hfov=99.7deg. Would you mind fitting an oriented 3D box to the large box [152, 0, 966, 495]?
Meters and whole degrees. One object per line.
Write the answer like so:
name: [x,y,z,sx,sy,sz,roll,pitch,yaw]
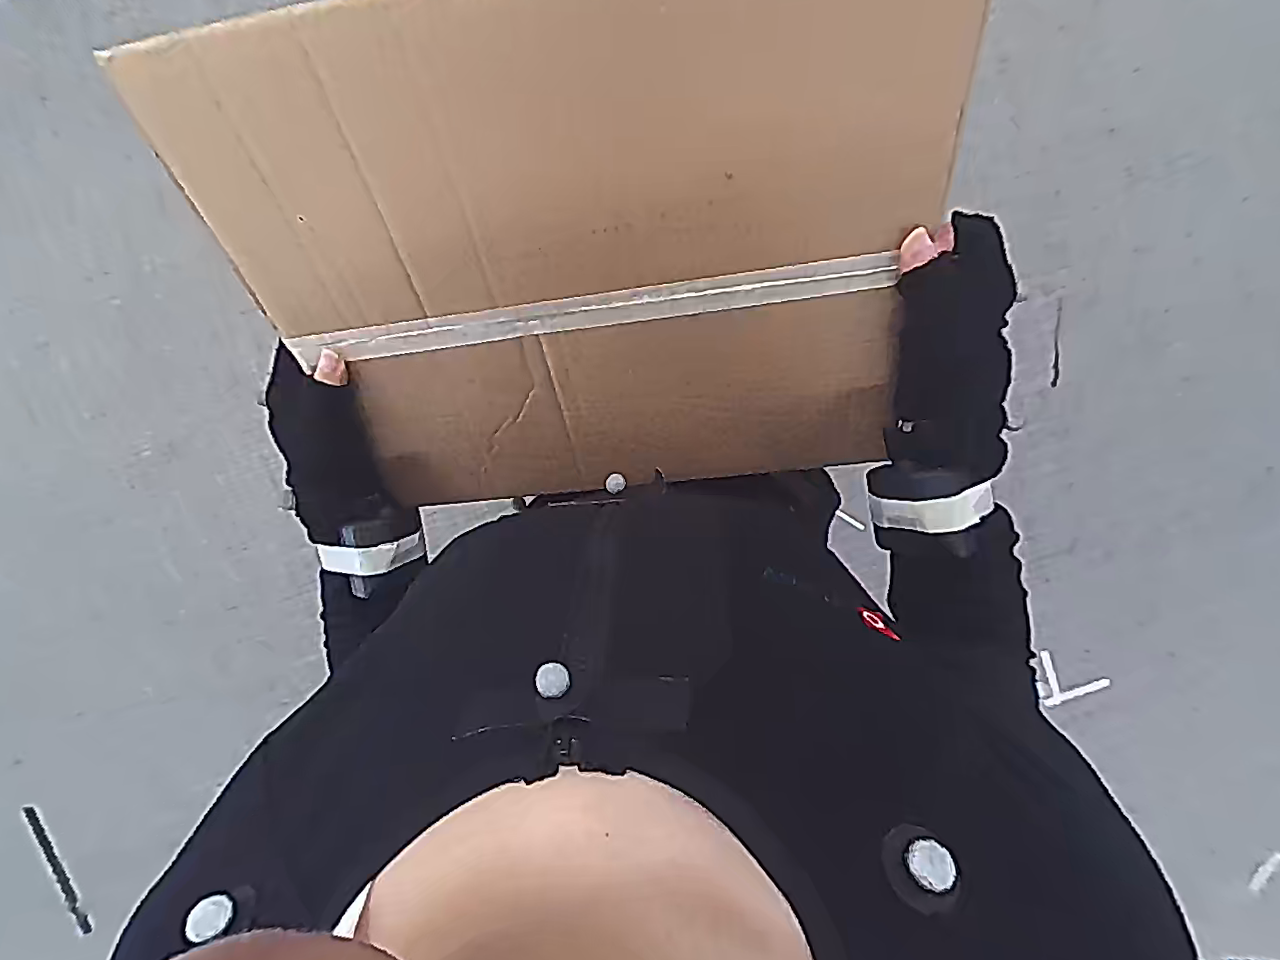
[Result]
large box: [-0.026,-0.220,0.454,0.408,0.320,0.320,-6,134,7]
